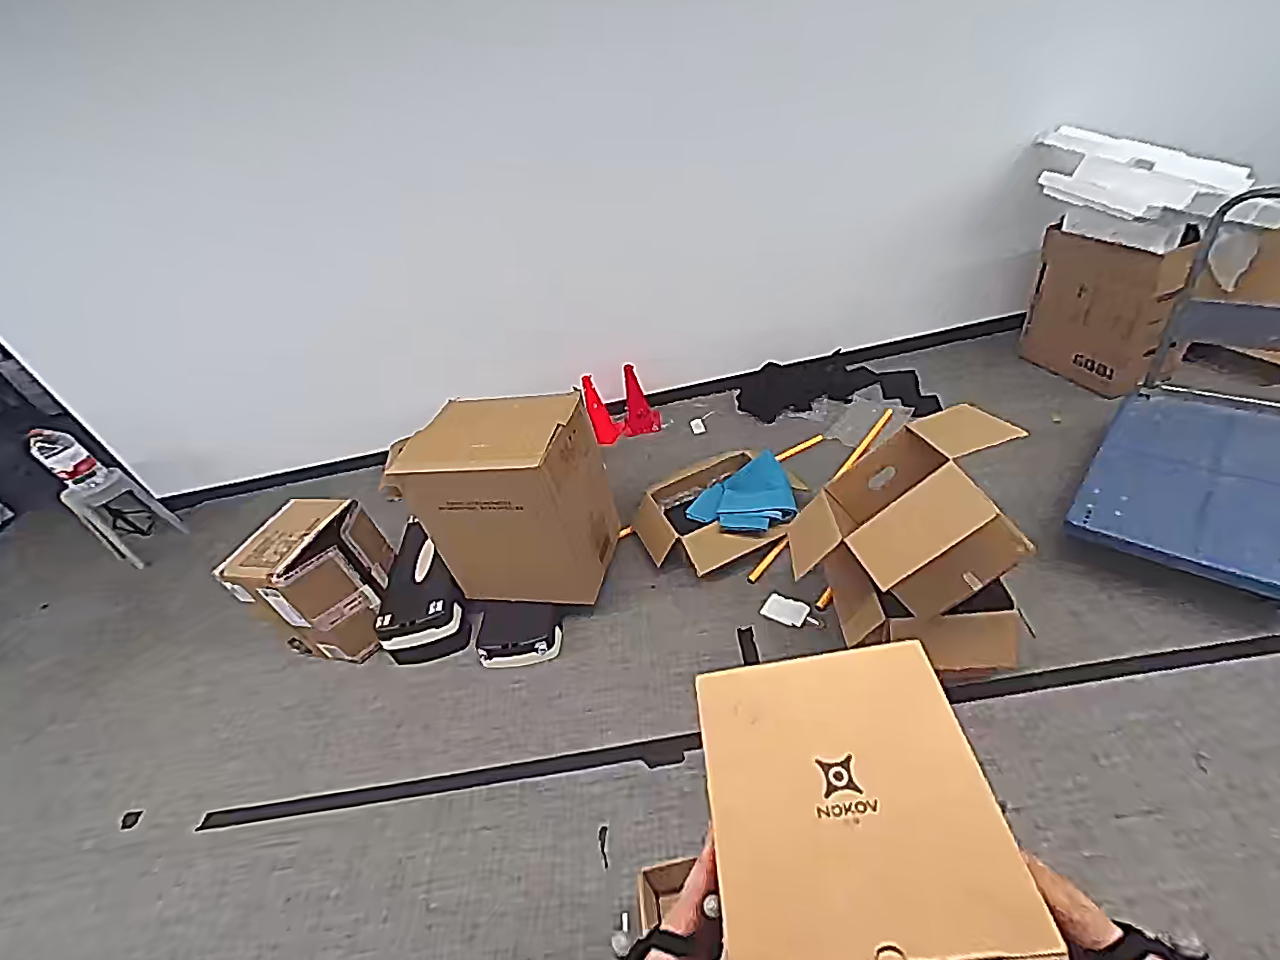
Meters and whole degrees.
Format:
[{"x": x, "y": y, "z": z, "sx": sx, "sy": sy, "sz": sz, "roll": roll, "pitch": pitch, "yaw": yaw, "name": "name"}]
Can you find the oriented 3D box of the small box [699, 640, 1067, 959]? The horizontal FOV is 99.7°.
[{"x": 0.142, "y": 0.244, "z": 0.383, "sx": 0.168, "sy": 0.176, "sz": 0.179, "roll": -12, "pitch": 40, "yaw": 7, "name": "small box"}]
